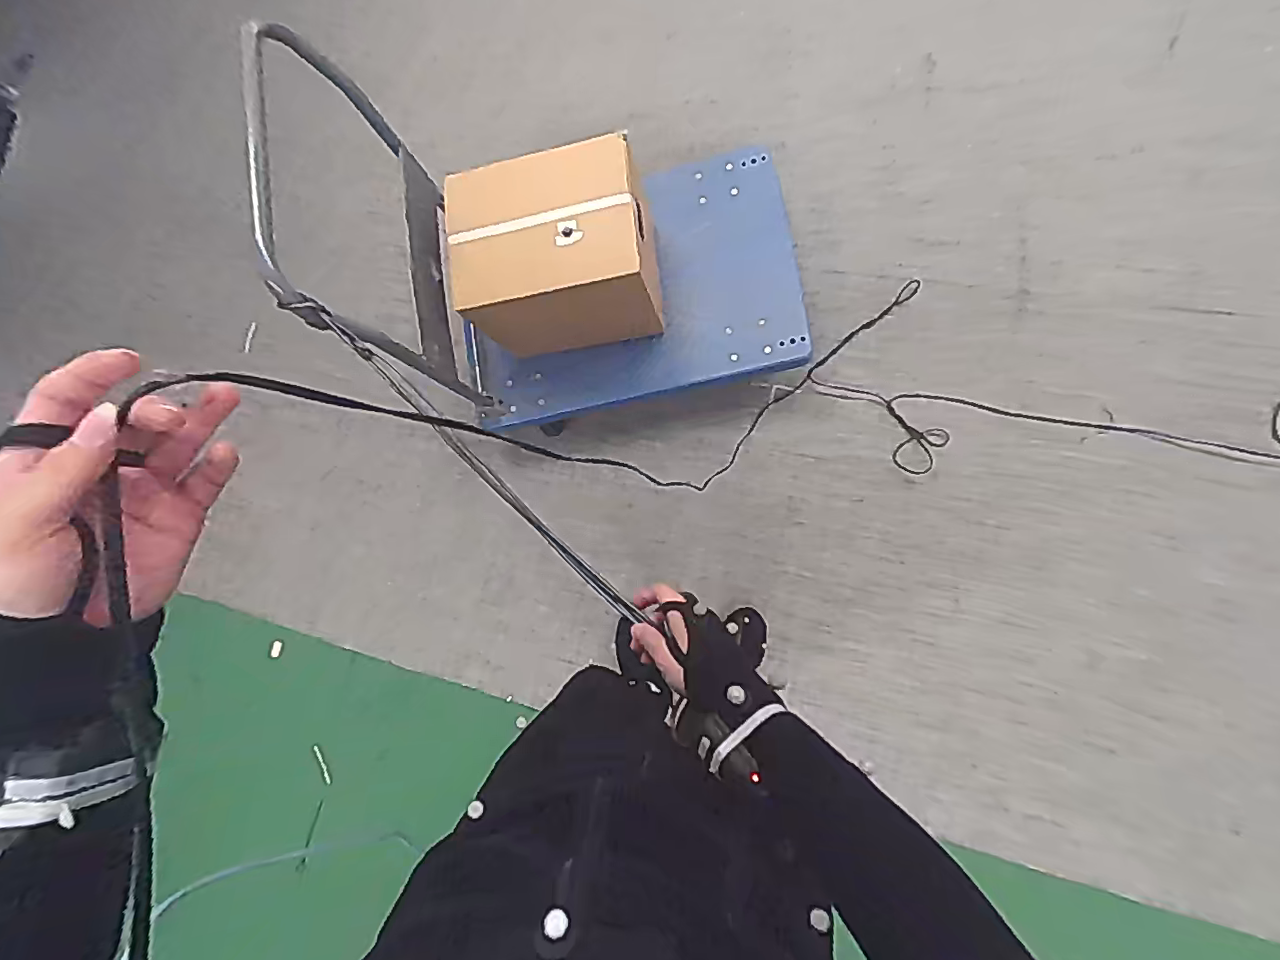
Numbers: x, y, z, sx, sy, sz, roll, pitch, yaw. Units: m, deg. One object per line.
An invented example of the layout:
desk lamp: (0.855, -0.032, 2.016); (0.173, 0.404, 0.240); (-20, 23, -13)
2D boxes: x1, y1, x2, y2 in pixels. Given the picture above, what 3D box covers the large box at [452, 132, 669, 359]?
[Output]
large box: (-0.165, -0.504, 1.242); (0.408, 0.320, 0.320); (-8, 82, 10)
